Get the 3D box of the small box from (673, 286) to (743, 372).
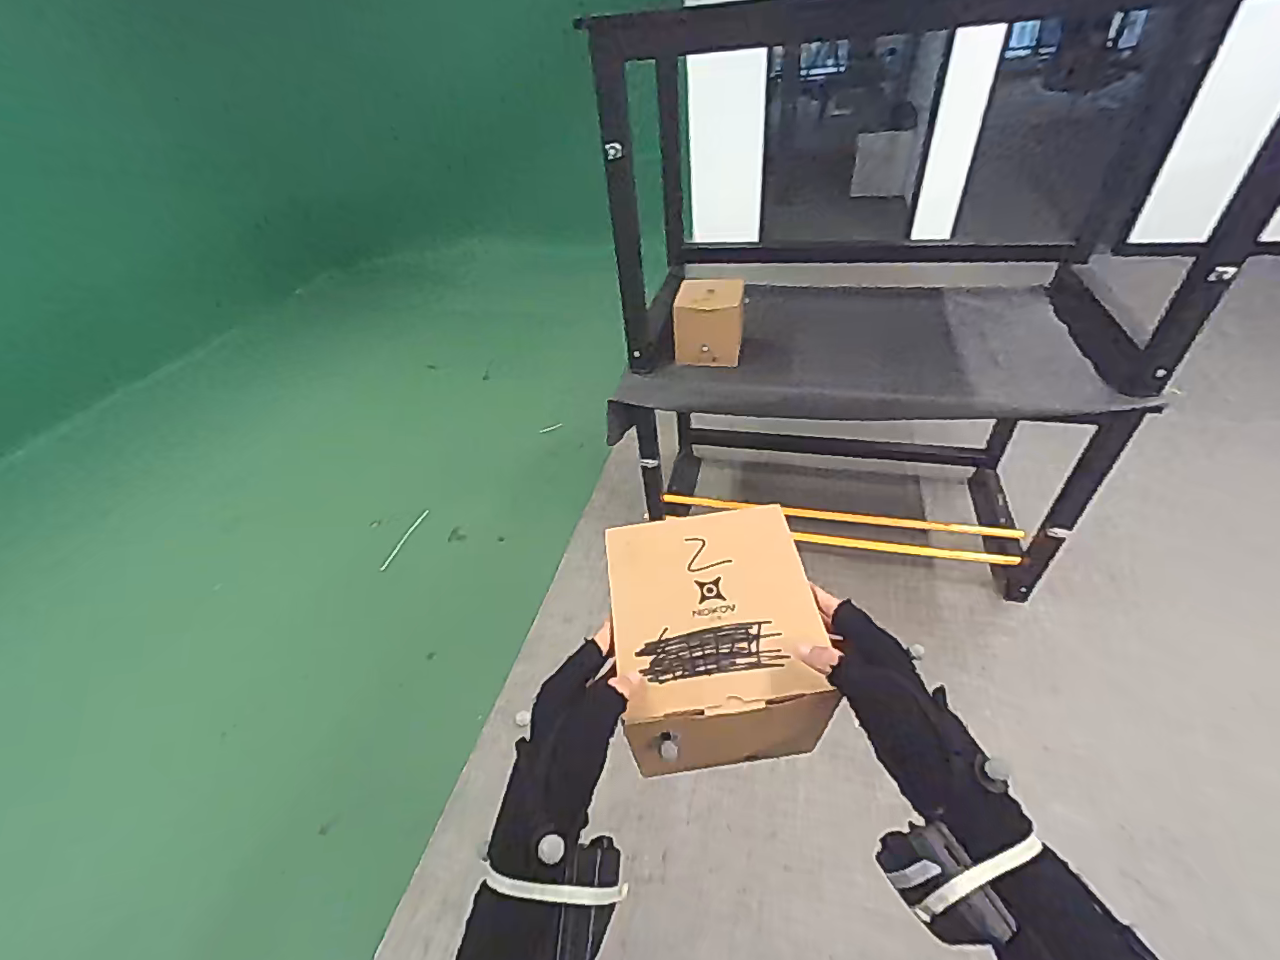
[{"bbox_3d":[0.186,-0.409,1.458,0.168,0.176,0.179,4,42,13],"label":"small box"}]
